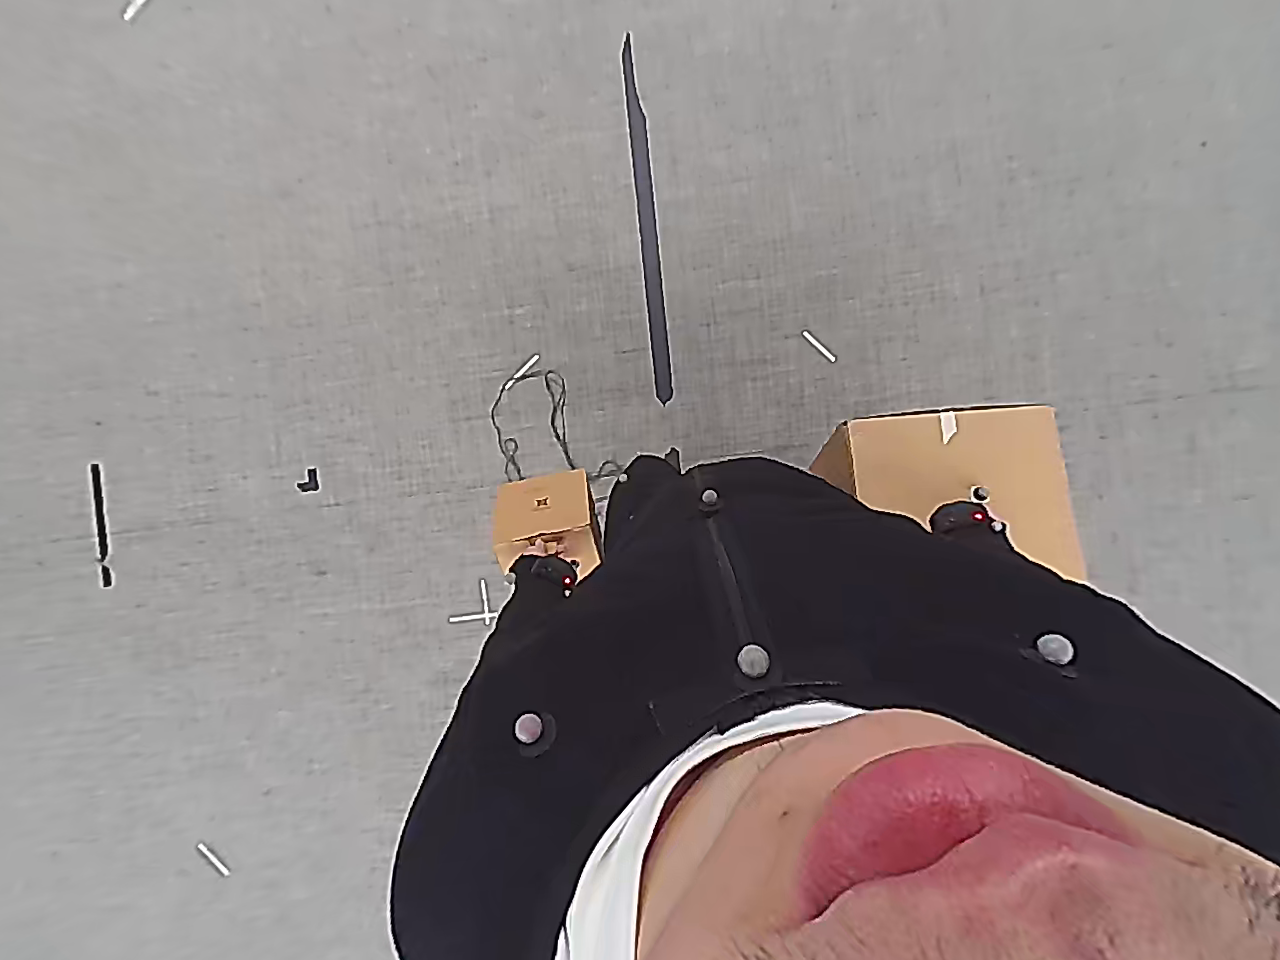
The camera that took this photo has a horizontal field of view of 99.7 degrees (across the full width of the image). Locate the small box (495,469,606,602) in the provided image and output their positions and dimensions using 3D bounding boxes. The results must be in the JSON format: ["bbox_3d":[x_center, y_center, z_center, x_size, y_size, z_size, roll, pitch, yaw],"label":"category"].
[{"bbox_3d":[-0.161,0.108,1.007,0.168,0.179,0.176,-11,125,-2],"label":"small box"}]
